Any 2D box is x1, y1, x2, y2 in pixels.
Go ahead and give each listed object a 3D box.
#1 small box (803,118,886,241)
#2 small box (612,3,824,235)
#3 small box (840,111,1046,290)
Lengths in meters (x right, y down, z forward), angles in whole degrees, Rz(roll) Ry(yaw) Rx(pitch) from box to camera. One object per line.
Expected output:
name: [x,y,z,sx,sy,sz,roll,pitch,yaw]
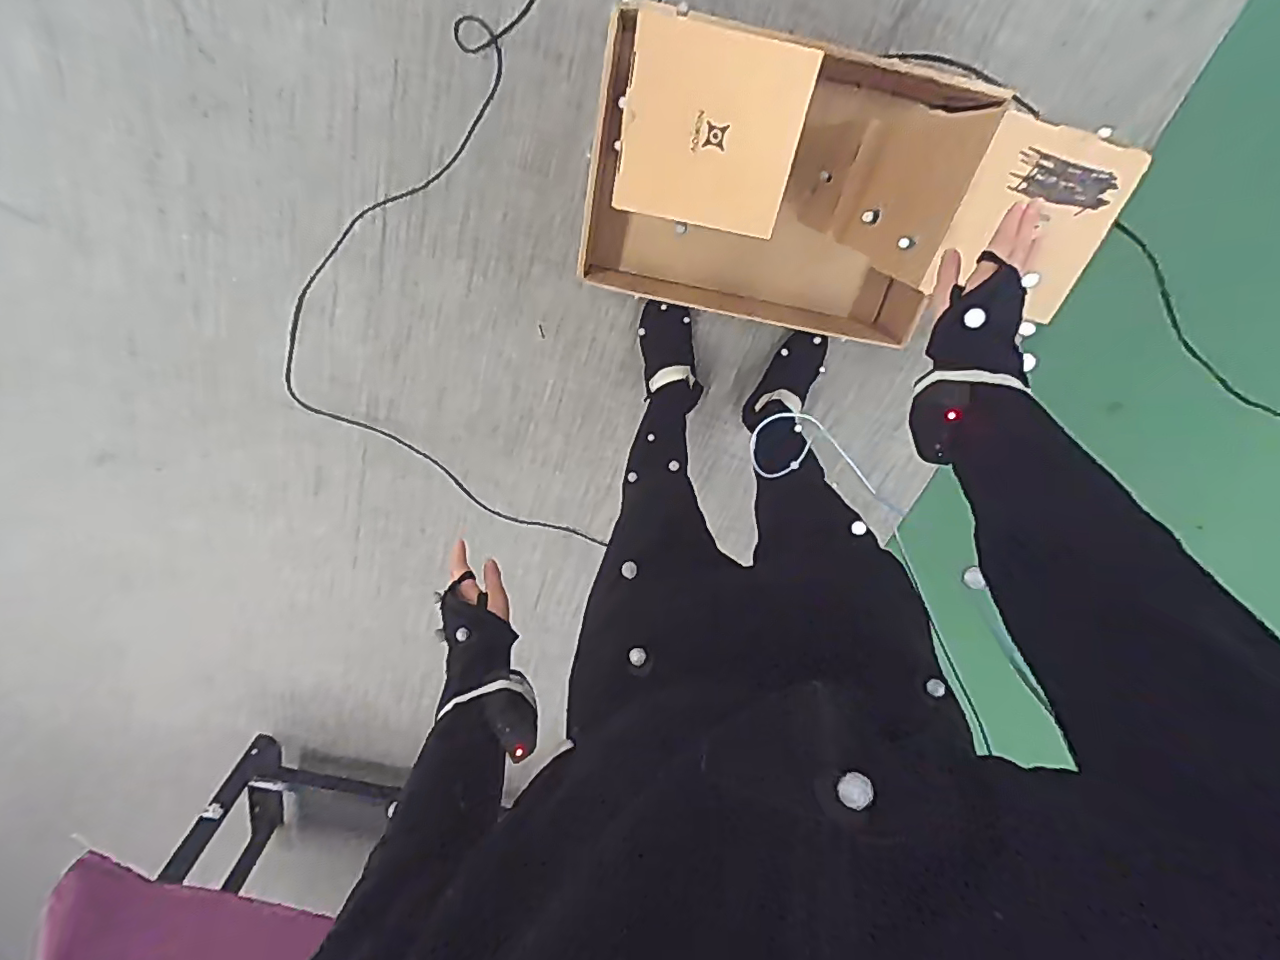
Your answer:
small box: [0.400,-0.486,0.918,0.179,0.176,0.168,14,120,-7]
small box: [0.072,-0.389,0.601,0.179,0.176,0.168,10,122,-5]
small box: [0.412,-0.398,0.778,0.168,0.176,0.179,14,119,-8]
